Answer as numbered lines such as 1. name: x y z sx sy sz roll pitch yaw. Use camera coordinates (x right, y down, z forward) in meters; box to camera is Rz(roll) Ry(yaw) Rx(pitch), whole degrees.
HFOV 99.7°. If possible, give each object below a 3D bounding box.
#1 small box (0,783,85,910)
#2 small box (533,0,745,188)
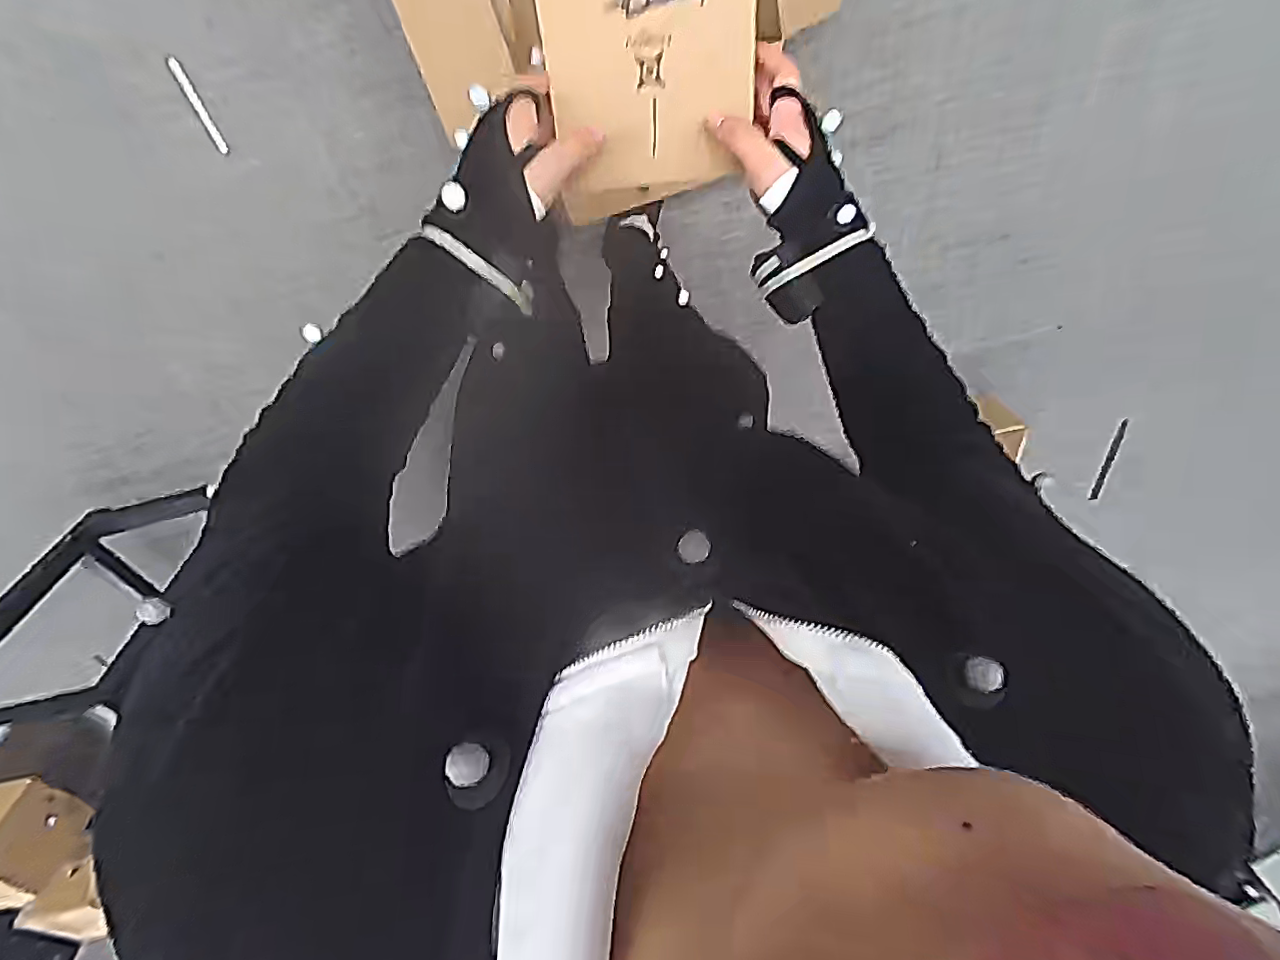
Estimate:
1. small box: -1.287 0.729 1.069 0.179 0.176 0.168 -12 130 2
2. small box: -0.004 -0.379 0.498 0.168 0.176 0.179 -7 122 0
